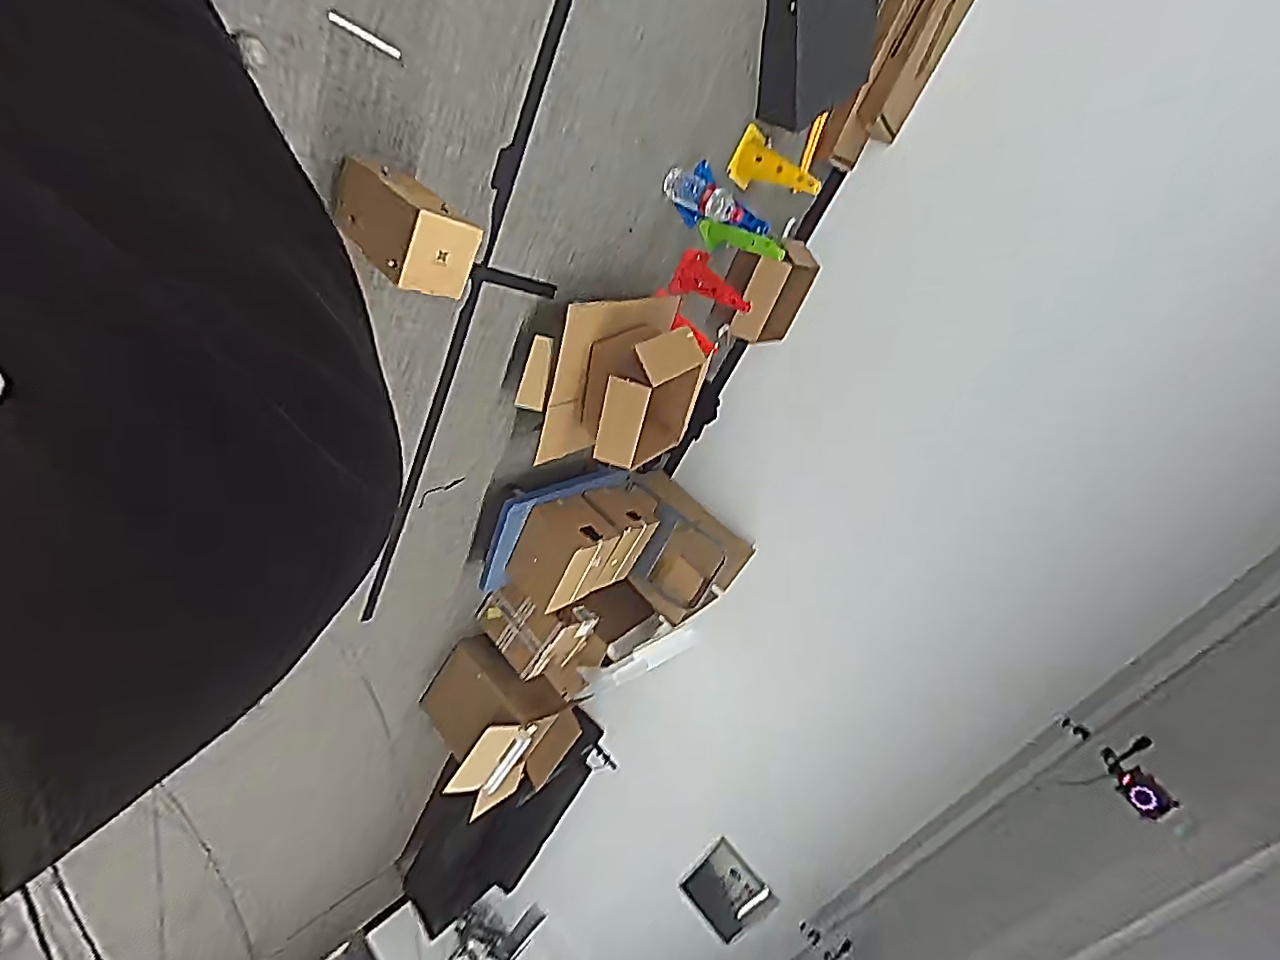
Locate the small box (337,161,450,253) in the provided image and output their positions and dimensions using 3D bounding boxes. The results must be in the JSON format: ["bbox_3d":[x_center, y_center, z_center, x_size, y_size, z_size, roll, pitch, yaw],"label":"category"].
[{"bbox_3d":[-0.600,-0.642,1.309,0.179,0.176,0.168,-14,139,-54],"label":"small box"}]

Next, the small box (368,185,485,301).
[{"bbox_3d":[-0.494,-0.541,1.238,0.168,0.176,0.179,-11,138,-54],"label":"small box"}]
